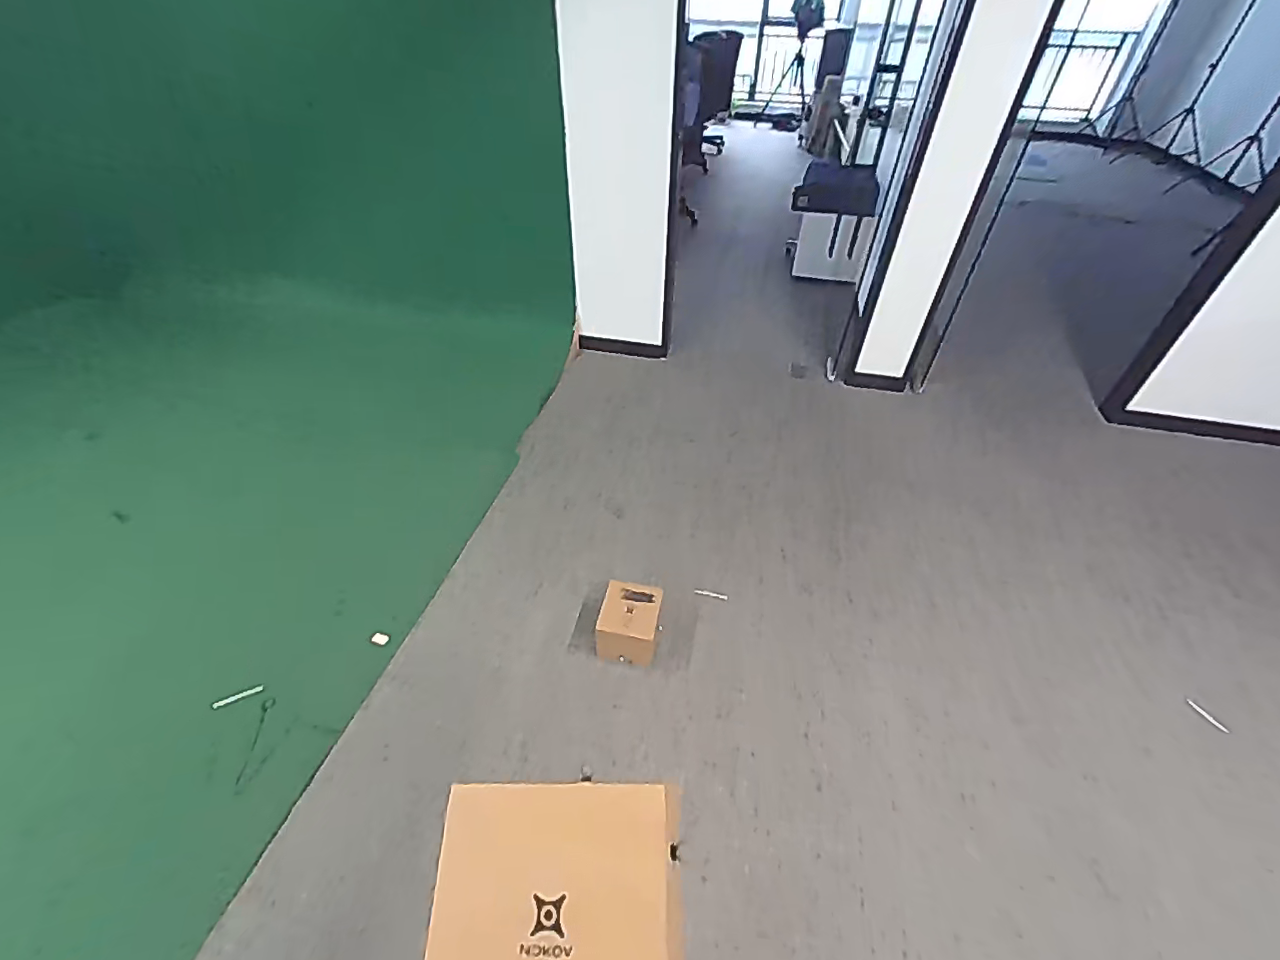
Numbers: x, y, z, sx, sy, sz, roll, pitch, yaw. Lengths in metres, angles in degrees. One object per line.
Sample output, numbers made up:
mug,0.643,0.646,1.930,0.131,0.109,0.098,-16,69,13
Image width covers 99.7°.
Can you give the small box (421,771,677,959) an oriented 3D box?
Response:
small box,-0.058,0.341,0.441,0.168,0.176,0.179,-3,60,7
